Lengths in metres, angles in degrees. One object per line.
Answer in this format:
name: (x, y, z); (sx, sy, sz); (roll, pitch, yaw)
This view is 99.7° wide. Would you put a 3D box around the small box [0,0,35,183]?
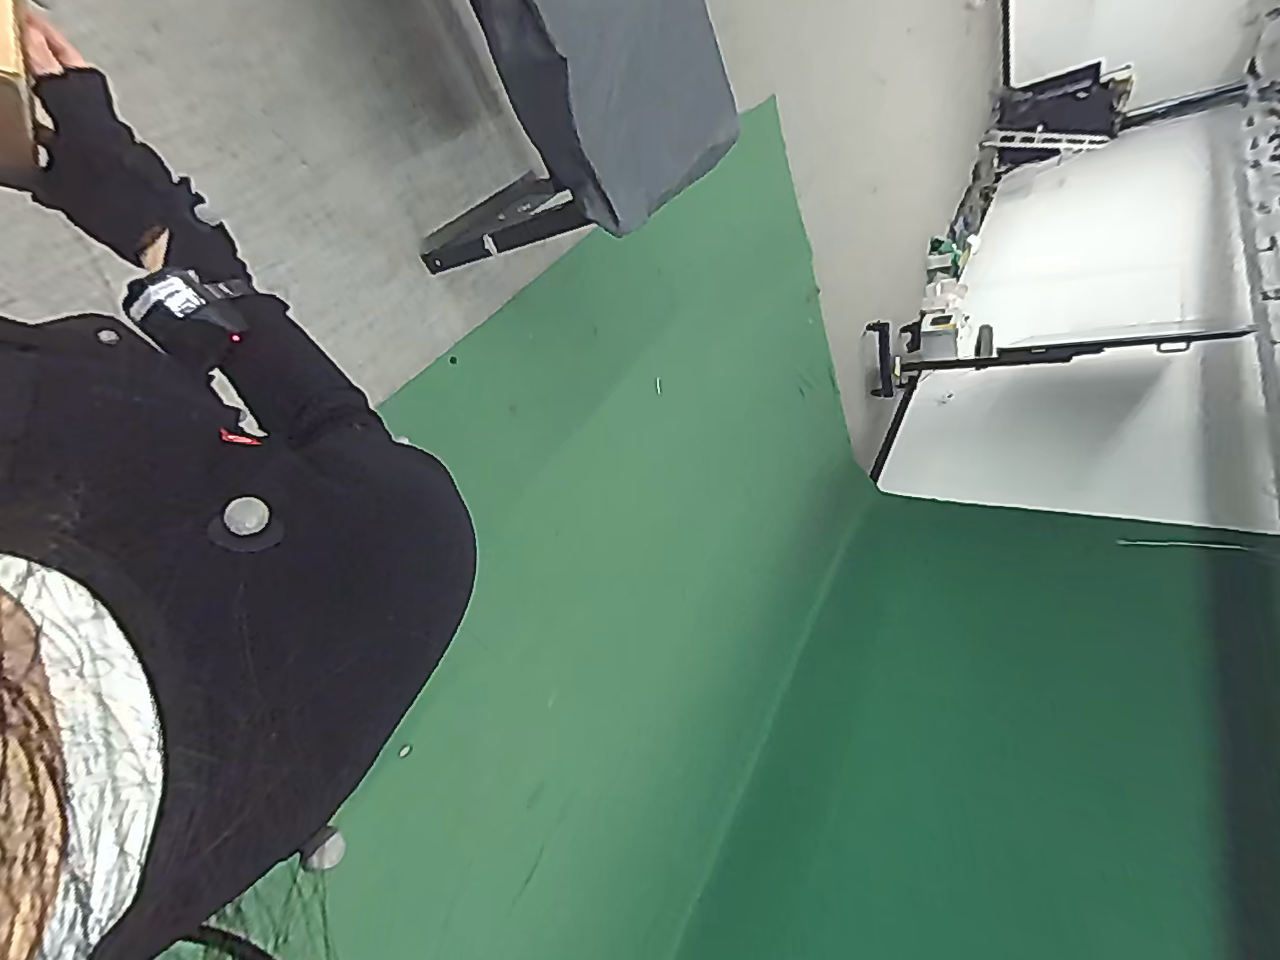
small box: (-0.476, -0.310, 0.308); (0.168, 0.176, 0.179); (-5, 95, -46)
